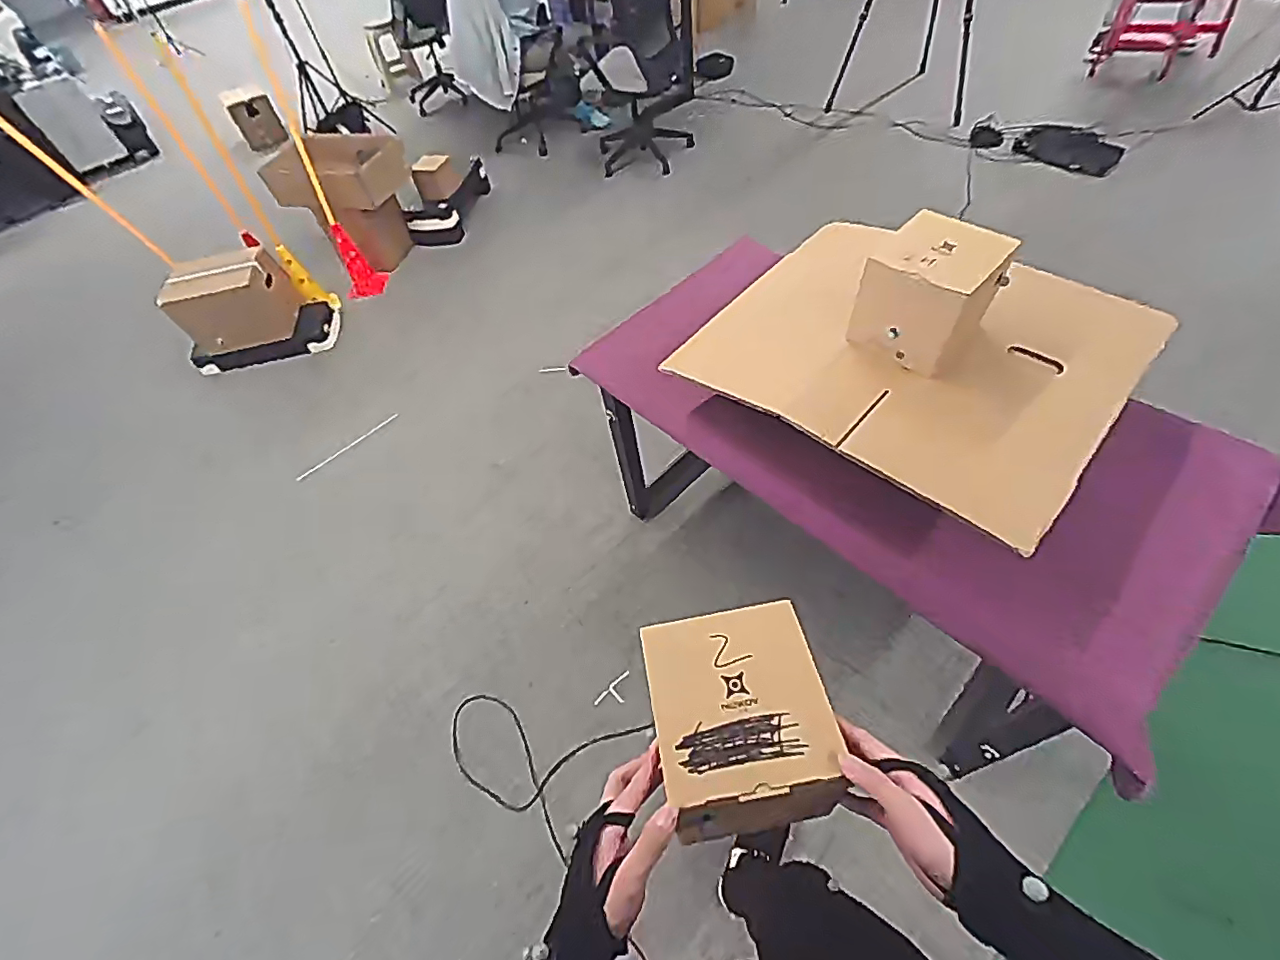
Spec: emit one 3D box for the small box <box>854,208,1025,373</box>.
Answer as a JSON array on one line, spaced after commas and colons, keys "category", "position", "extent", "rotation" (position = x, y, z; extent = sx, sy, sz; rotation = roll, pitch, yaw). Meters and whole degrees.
[{"category": "small box", "position": [0.488, -0.316, 0.909], "extent": [0.179, 0.176, 0.168], "rotation": [-41, 60, -20]}]
